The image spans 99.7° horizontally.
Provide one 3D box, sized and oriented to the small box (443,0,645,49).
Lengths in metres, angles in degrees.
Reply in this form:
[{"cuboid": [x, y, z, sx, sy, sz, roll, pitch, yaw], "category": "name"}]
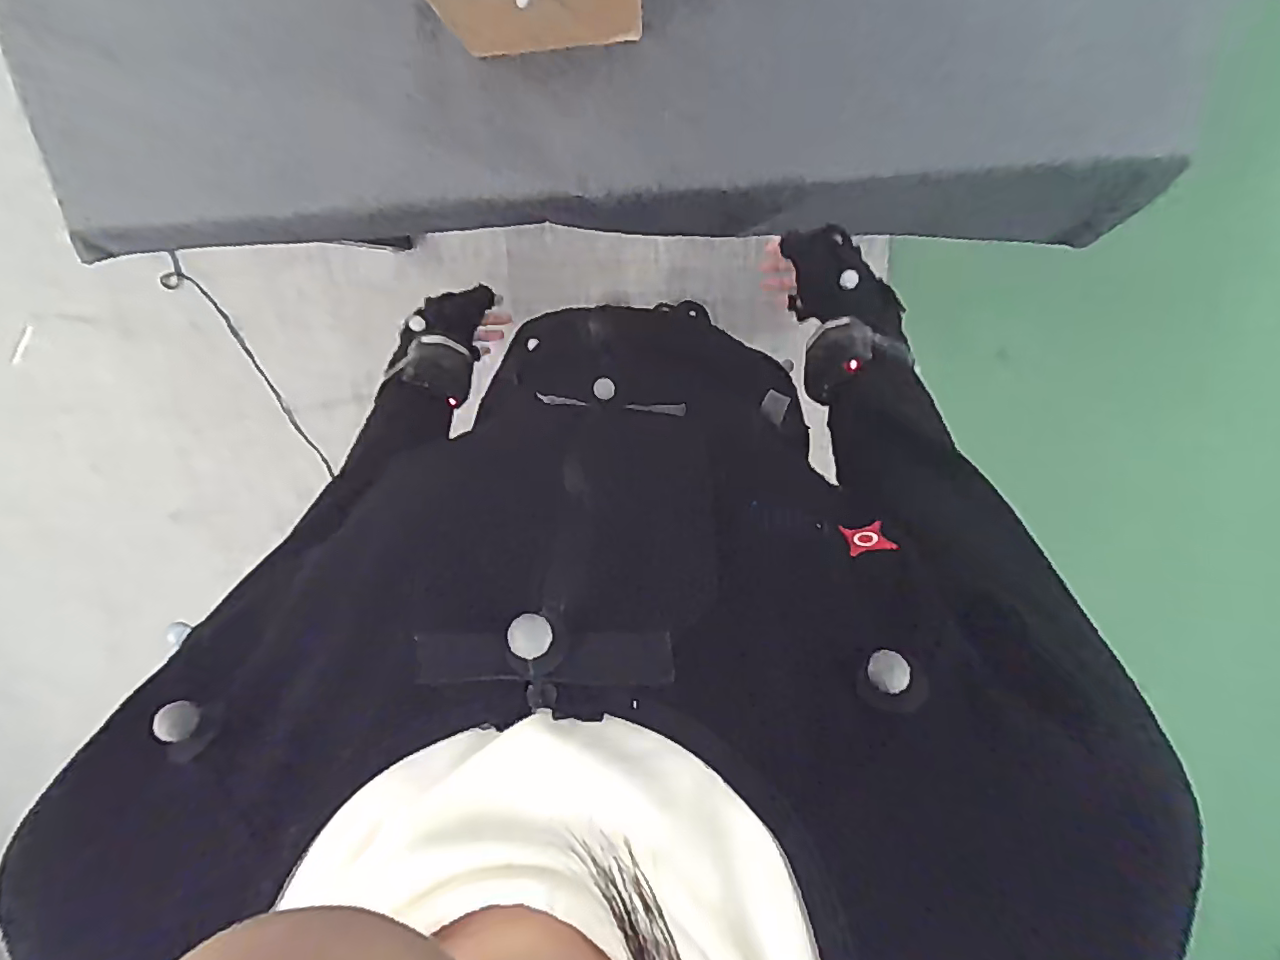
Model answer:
[{"cuboid": [-0.091, -0.484, 0.440, 0.179, 0.176, 0.168, -3, 110, 4], "category": "small box"}]
